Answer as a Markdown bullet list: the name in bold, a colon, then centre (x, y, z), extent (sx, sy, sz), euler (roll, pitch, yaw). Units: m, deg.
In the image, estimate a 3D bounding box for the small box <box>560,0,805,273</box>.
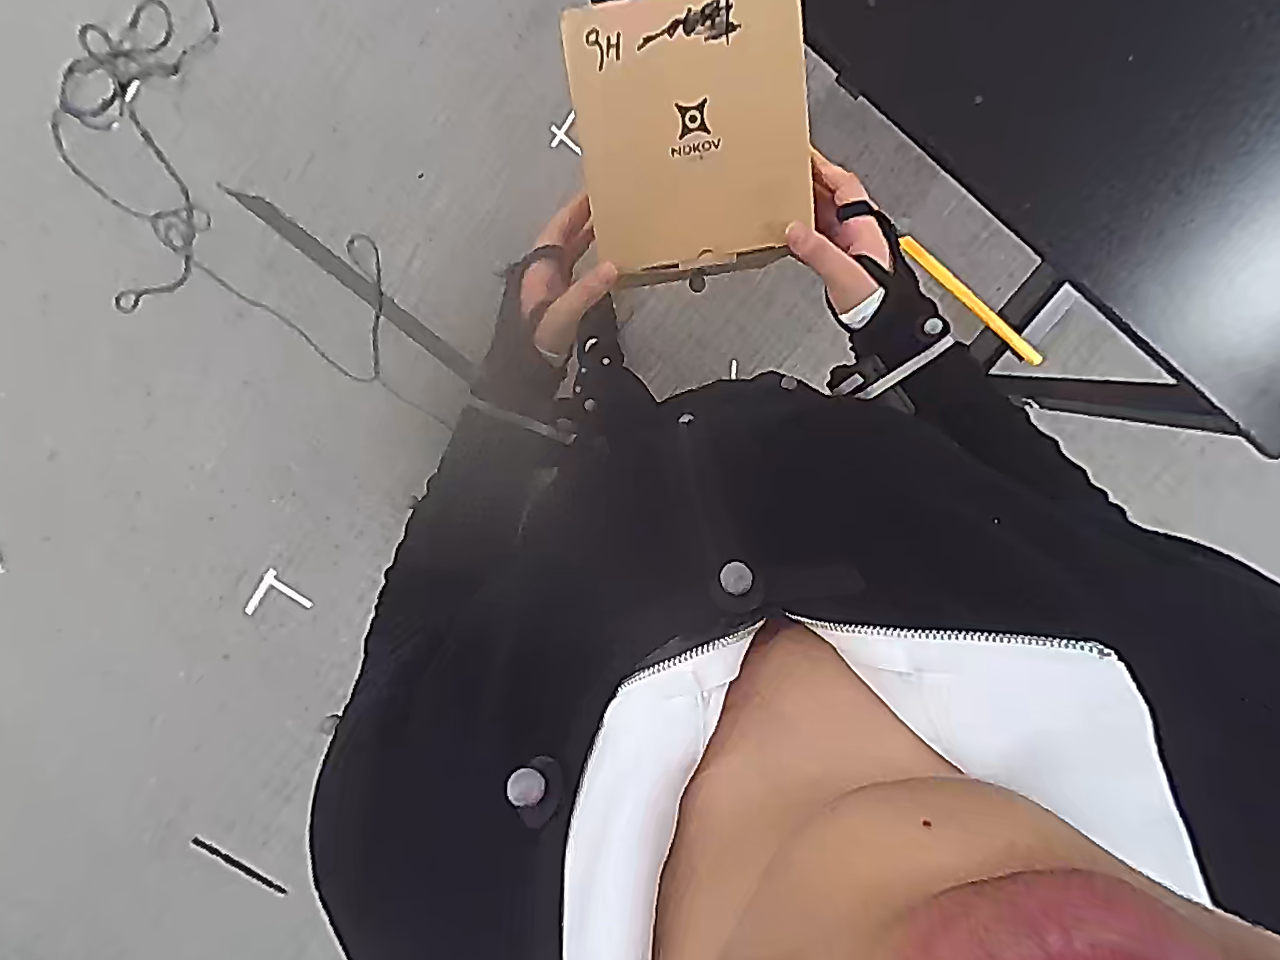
- **small box**: centre (0.037, -0.281, 0.468), extent (0.168, 0.176, 0.179), euler (-8, 108, 2)
